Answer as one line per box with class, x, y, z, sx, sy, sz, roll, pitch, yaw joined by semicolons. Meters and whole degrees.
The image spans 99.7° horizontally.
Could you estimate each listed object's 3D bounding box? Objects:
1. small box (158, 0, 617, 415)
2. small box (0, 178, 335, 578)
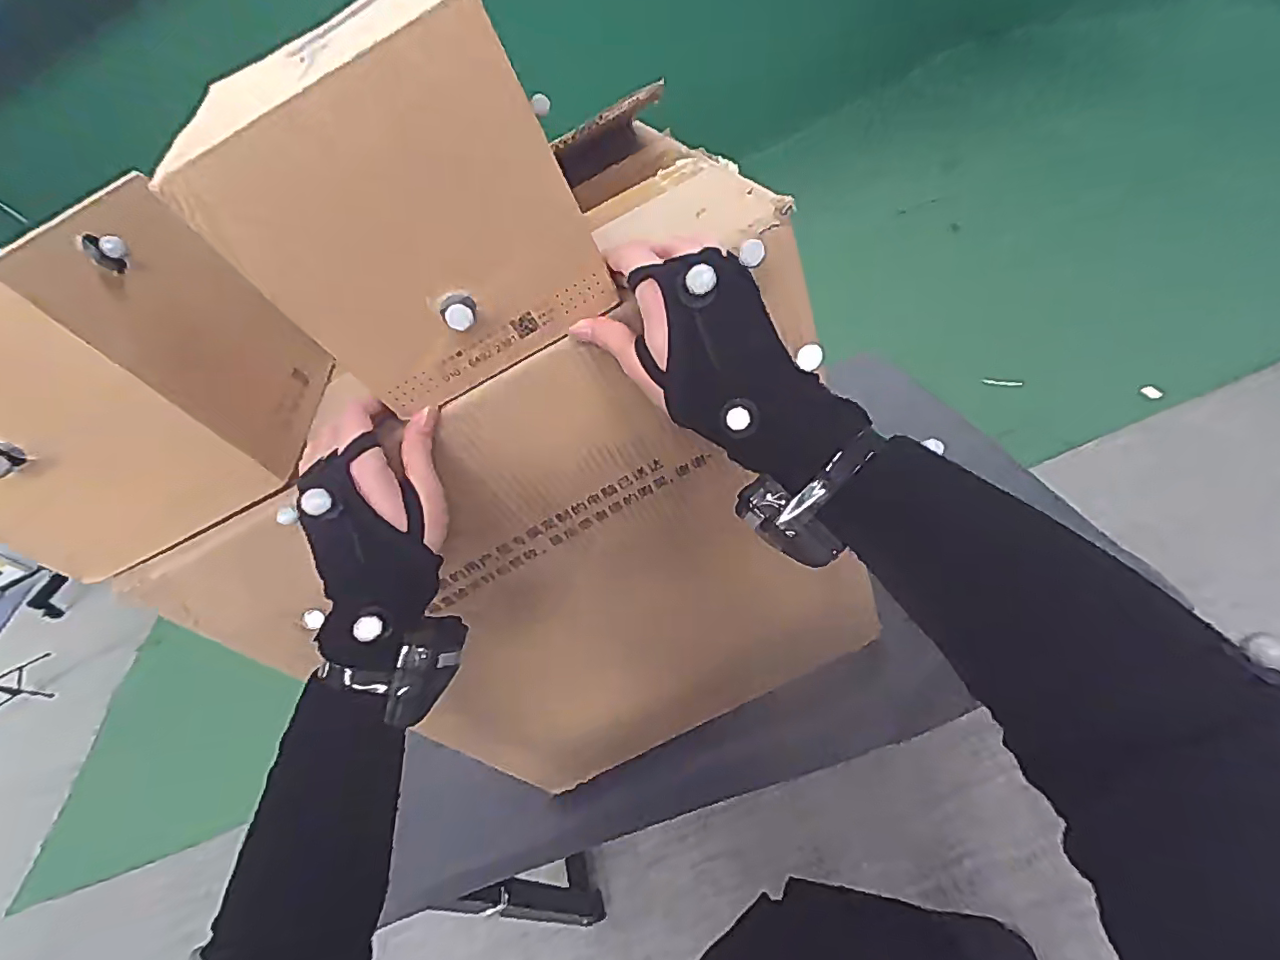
small box;-0.136;-0.175;0.345;0.168;0.176;0.179;-28;50;4
small box;-0.355;-0.061;0.370;0.179;0.176;0.168;-26;45;8
